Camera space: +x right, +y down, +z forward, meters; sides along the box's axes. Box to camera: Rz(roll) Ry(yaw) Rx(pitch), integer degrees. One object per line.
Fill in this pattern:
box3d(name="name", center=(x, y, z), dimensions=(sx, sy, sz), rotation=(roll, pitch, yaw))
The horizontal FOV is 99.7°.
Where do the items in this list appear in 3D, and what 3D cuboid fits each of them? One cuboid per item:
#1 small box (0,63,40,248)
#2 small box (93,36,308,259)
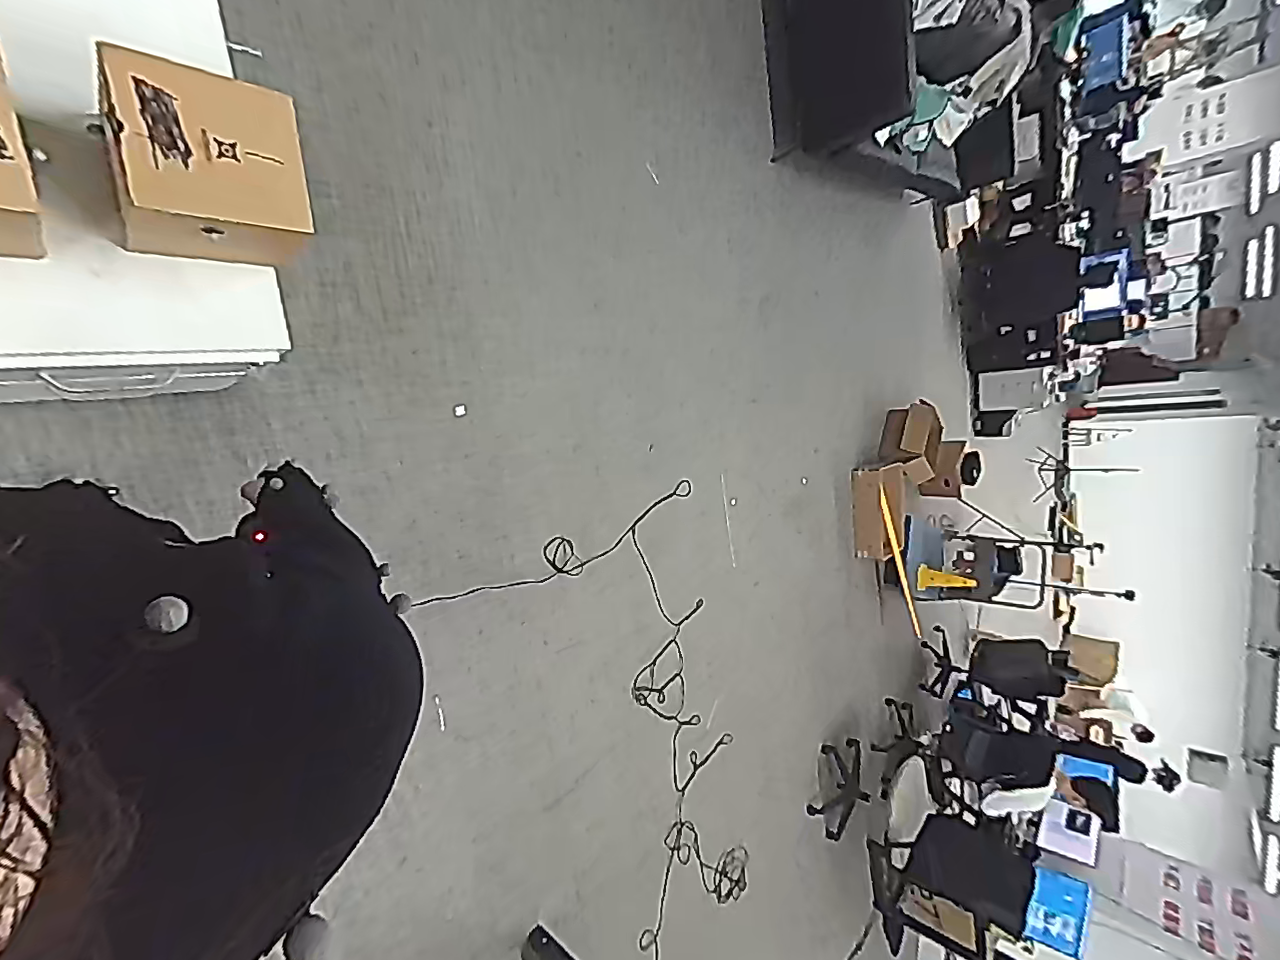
box3d(name="small box", center=(-0.712, -0.331, 0.507), dimensions=(0.179, 0.176, 0.168), rotation=(-15, 102, -46))
box3d(name="small box", center=(-0.547, -0.390, 0.677), dimensions=(0.179, 0.176, 0.168), rotation=(-12, 100, -45))
